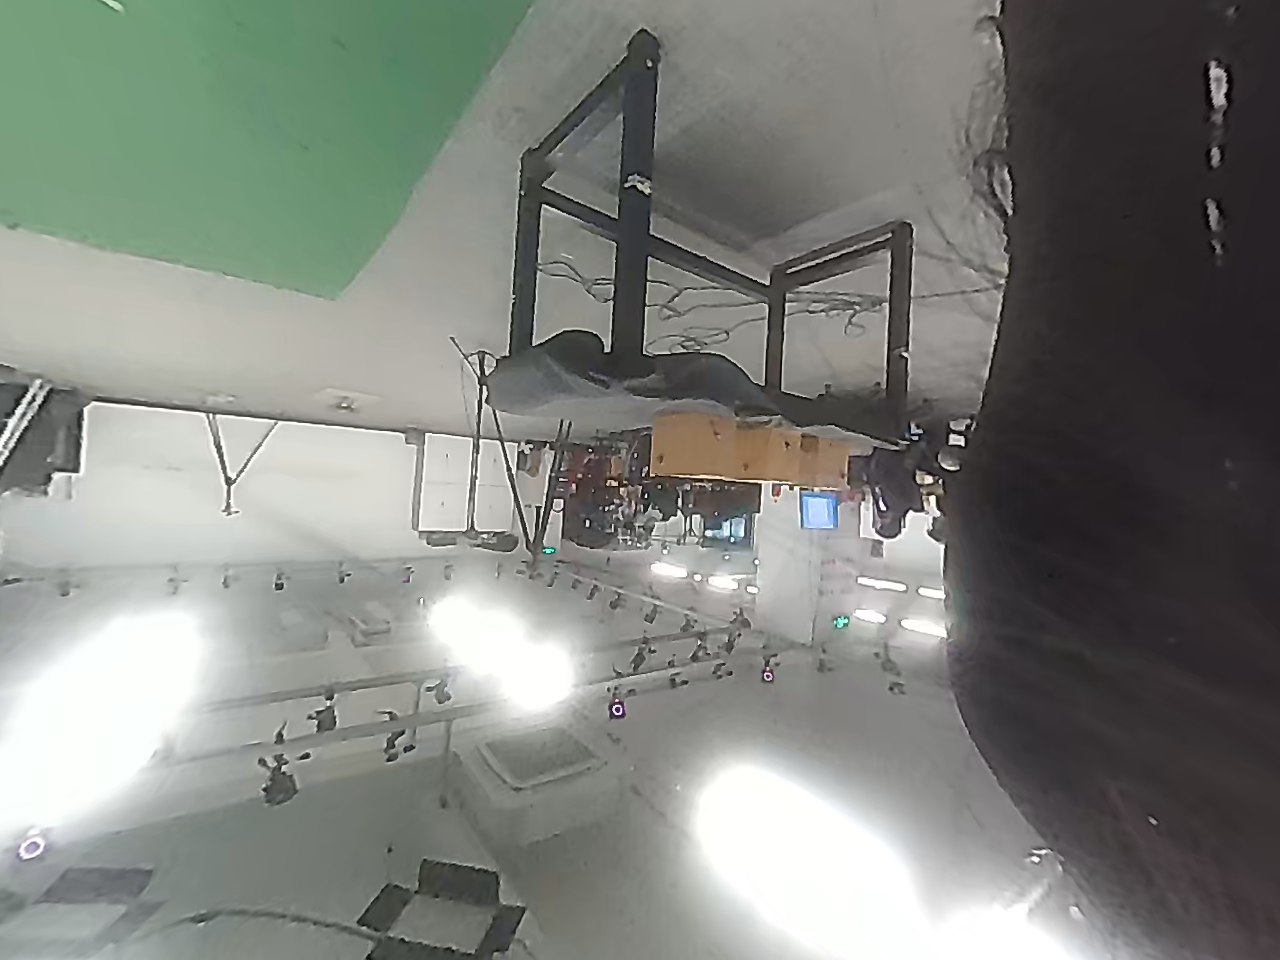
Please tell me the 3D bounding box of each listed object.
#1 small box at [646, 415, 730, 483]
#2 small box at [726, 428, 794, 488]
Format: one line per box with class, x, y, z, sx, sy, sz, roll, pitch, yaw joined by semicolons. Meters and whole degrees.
small box;0.138;-0.084;1.519;0.168;0.176;0.179;4;178;-40
small box;0.370;-0.068;1.706;0.168;0.176;0.179;5;177;-39
